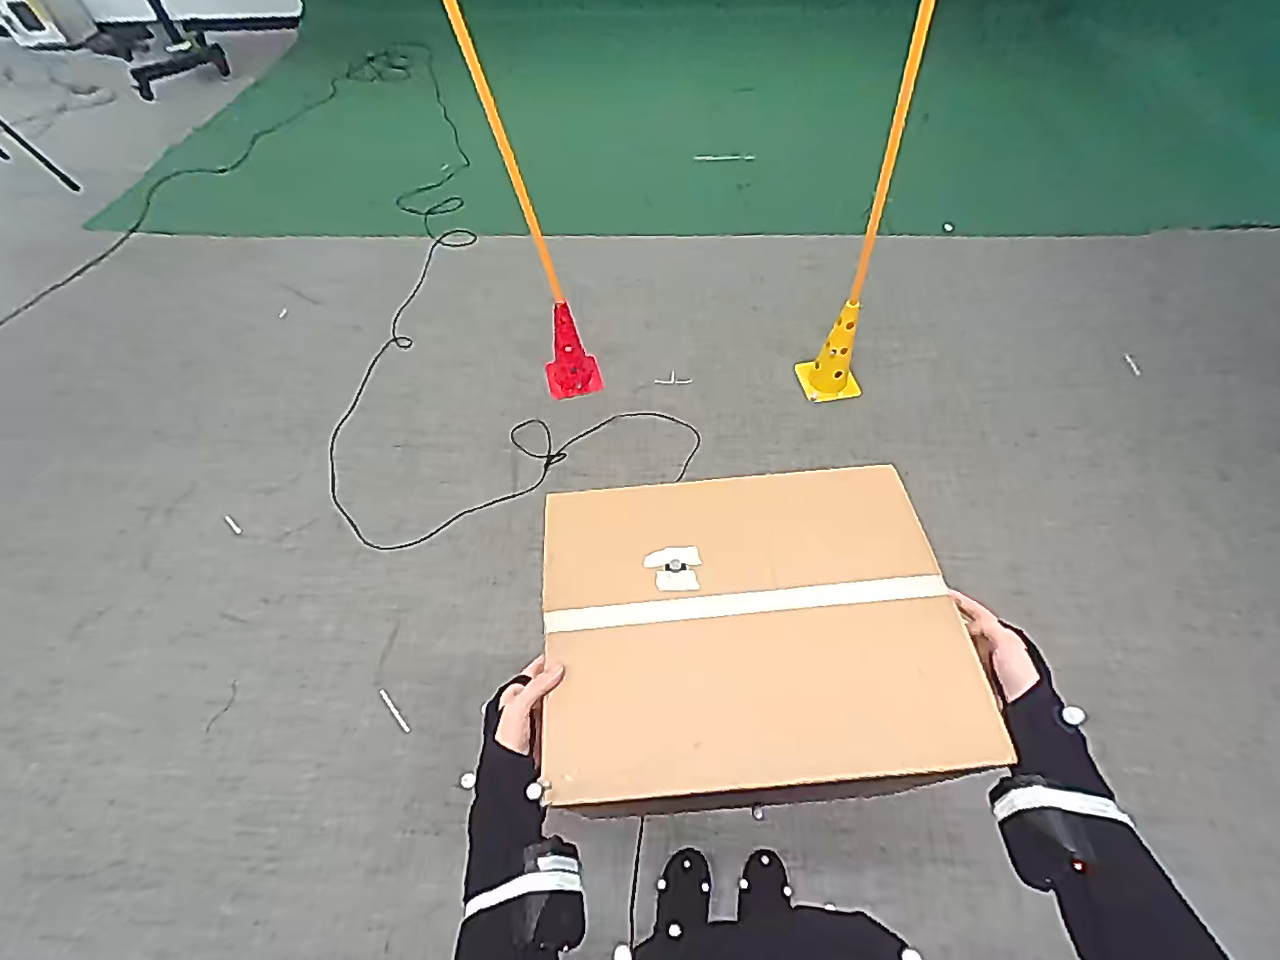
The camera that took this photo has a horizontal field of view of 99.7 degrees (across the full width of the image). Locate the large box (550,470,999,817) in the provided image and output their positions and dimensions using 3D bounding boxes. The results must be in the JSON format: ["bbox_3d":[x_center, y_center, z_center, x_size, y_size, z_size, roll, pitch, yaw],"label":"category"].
[{"bbox_3d":[0.117,0.218,0.677,0.408,0.320,0.320,-6,55,1],"label":"large box"}]
